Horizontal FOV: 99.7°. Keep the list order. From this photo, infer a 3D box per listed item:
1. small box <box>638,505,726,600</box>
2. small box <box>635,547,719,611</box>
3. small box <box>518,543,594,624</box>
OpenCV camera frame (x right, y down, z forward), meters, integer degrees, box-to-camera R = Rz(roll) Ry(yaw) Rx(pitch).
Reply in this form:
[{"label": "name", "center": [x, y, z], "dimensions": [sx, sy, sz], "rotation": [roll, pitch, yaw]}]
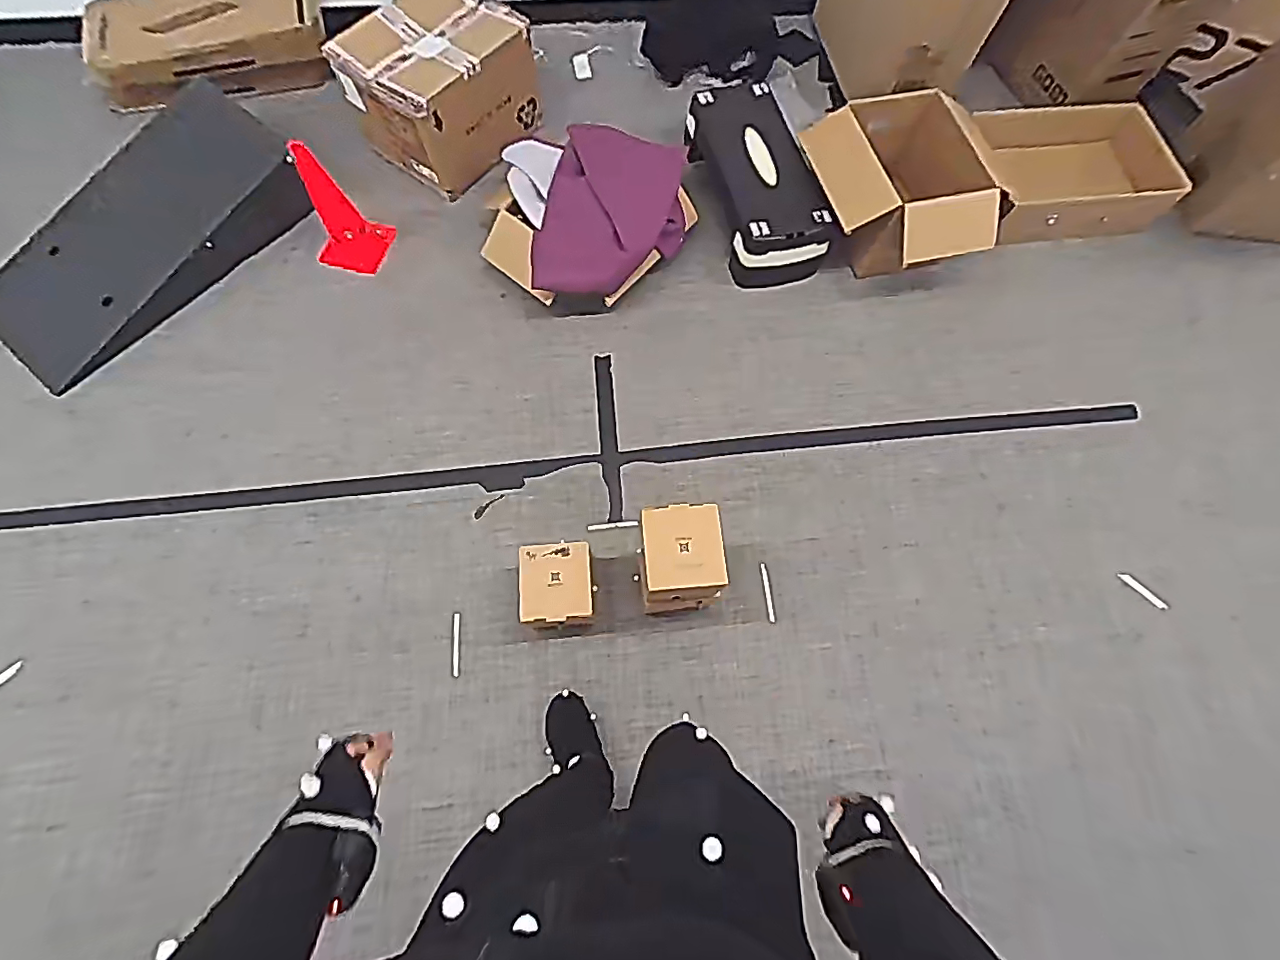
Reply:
[{"label": "small box", "center": [0.085, 0.165, 1.198], "dimensions": [0.168, 0.176, 0.179], "rotation": [-4, 72, -3]}, {"label": "small box", "center": [0.085, 0.230, 1.347], "dimensions": [0.179, 0.176, 0.168], "rotation": [-5, 71, -5]}, {"label": "small box", "center": [-0.201, 0.259, 1.326], "dimensions": [0.168, 0.176, 0.179], "rotation": [-3, 71, -3]}]
